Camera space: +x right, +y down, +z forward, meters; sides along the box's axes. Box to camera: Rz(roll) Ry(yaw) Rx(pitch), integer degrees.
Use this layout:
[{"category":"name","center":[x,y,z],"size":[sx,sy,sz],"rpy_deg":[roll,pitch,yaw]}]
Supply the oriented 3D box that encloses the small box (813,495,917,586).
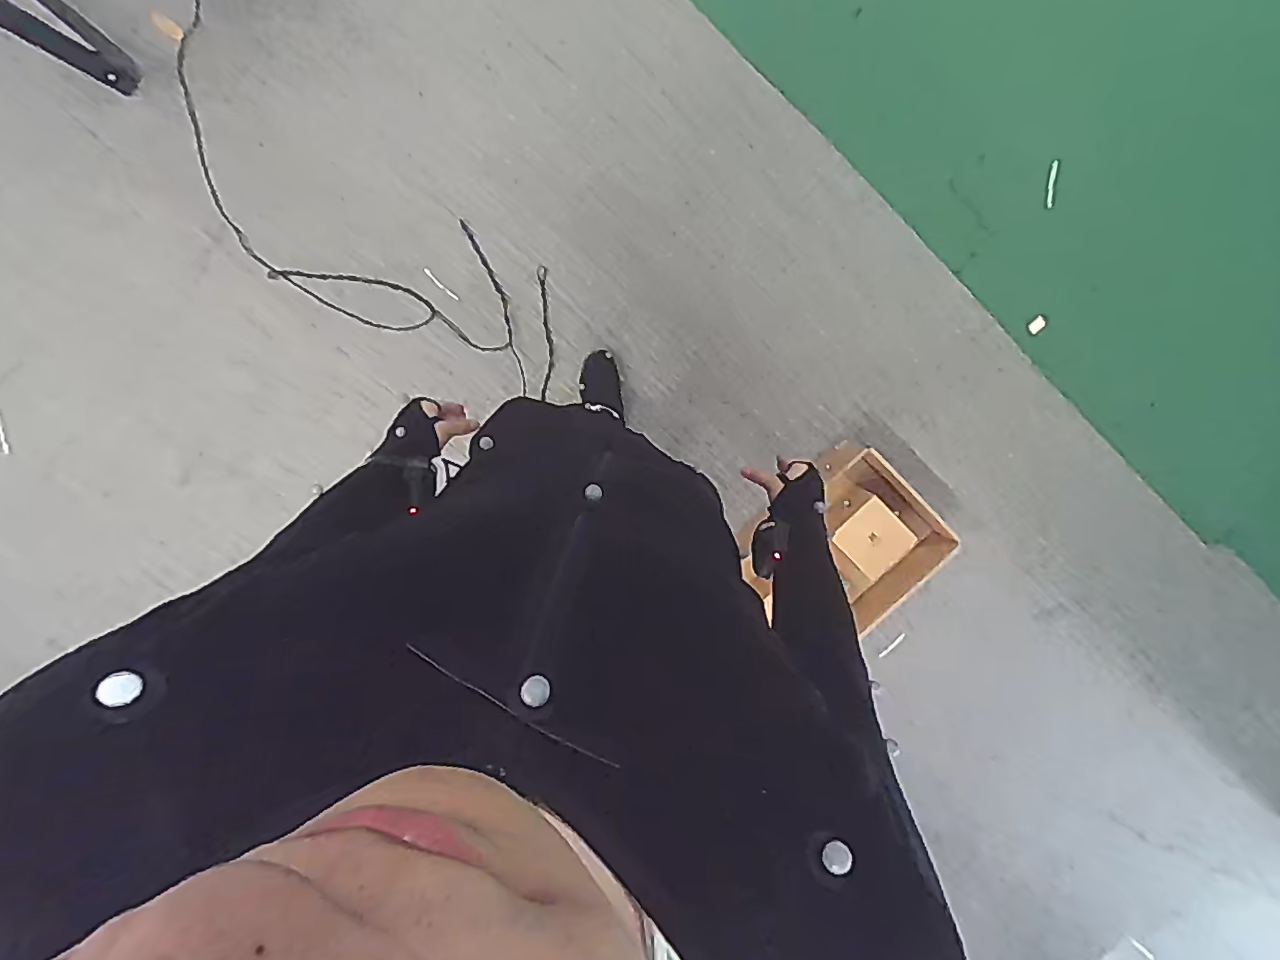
[{"category":"small box","center":[0.616,0.158,1.509],"size":[0.179,0.176,0.168],"rpy_deg":[44,97,-7]}]
